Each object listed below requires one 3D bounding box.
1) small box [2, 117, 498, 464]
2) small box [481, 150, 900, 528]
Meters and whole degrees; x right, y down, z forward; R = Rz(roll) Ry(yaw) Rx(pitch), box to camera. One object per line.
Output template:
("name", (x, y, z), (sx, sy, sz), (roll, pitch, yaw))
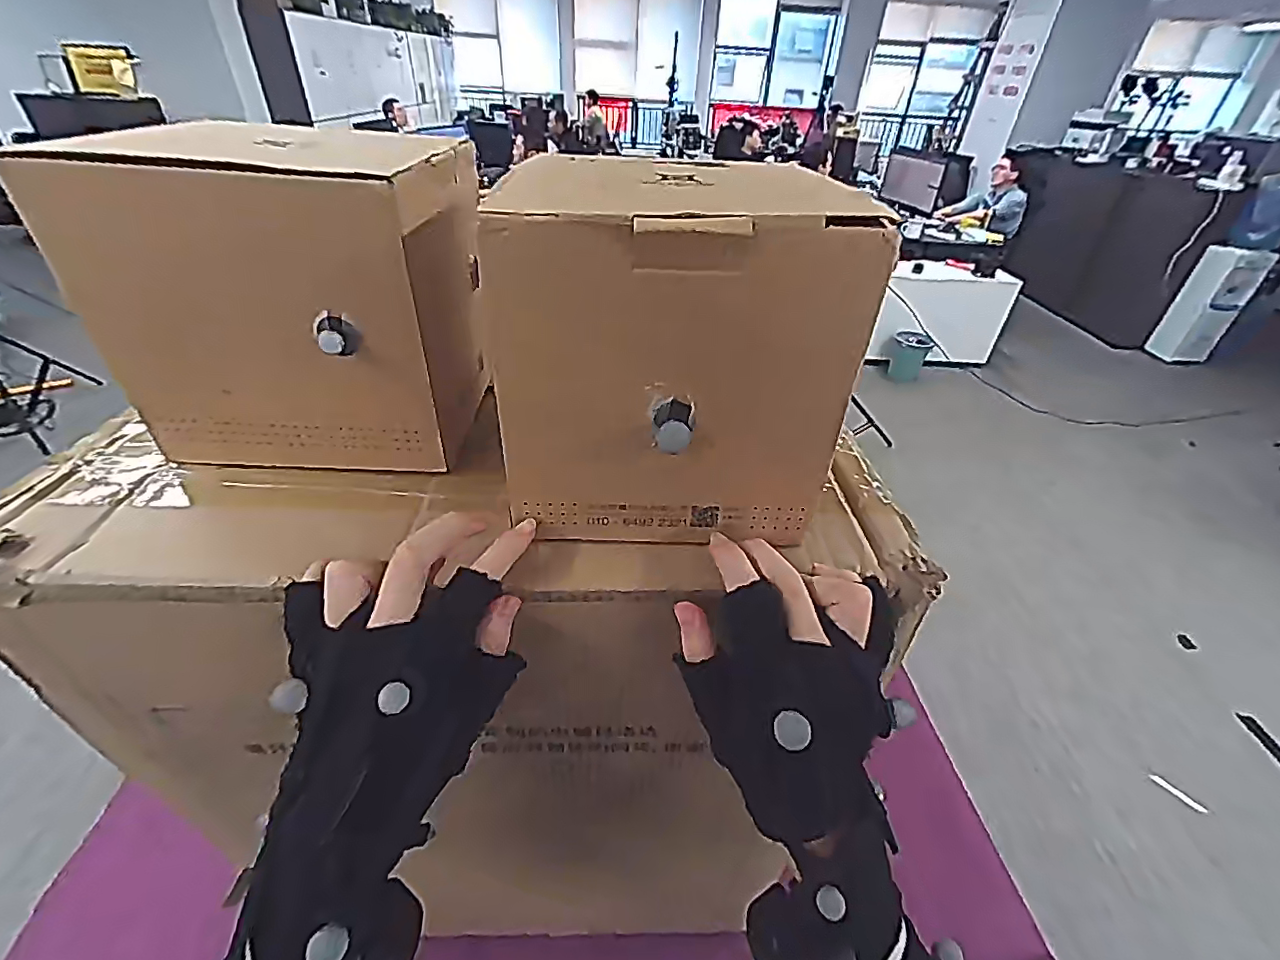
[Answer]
("small box", (-0.197, -0.122, 0.348), (0.179, 0.176, 0.168), (1, 36, -3))
("small box", (0.019, -0.086, 0.319), (0.168, 0.176, 0.179), (1, 37, -1))
